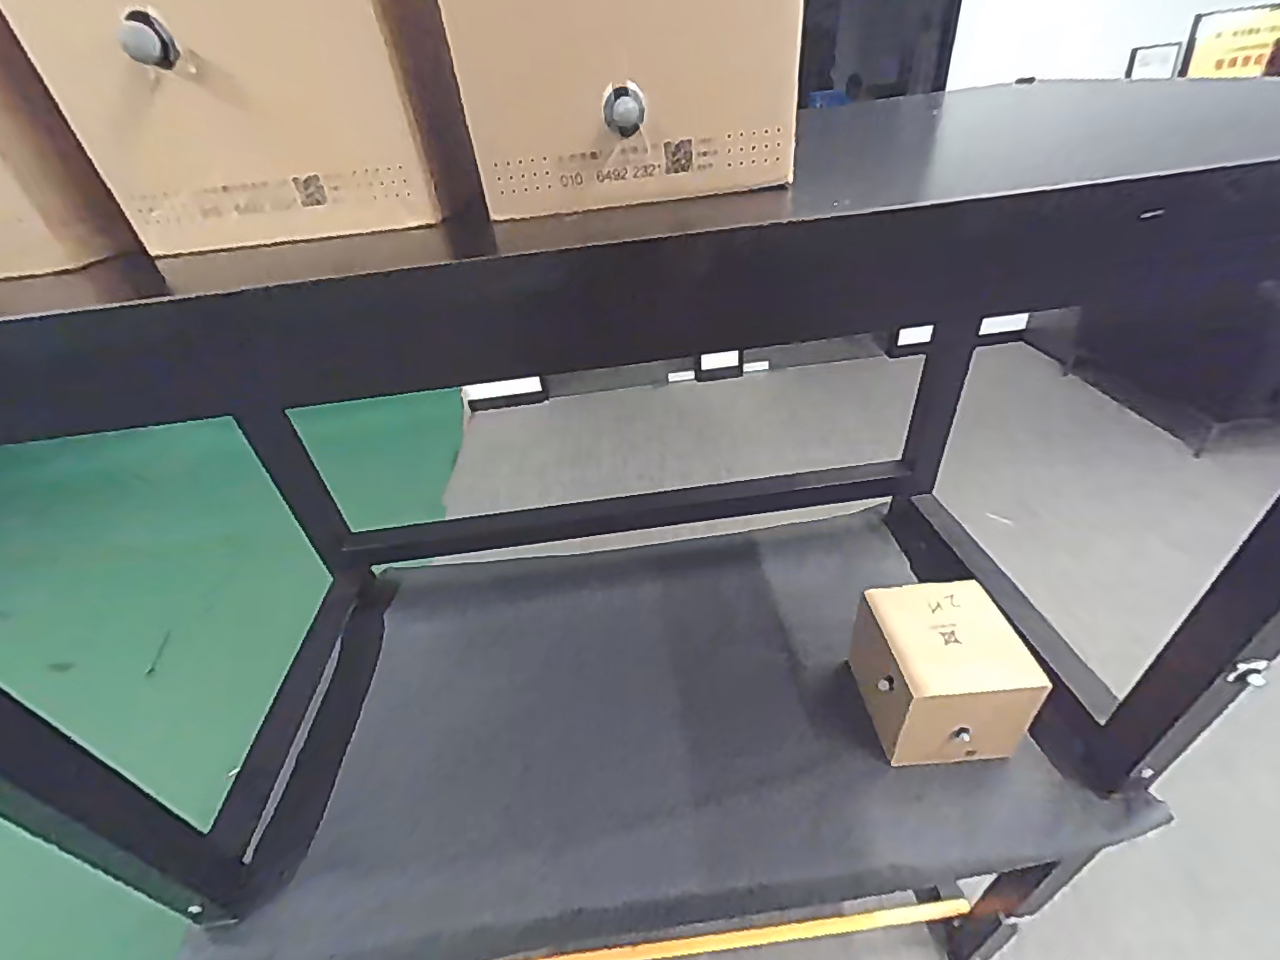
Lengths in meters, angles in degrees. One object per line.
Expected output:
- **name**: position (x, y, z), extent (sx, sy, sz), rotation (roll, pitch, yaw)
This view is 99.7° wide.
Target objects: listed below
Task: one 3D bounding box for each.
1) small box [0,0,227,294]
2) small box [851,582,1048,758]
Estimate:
- **small box**: position (-0.400, -0.215, 0.323), extent (0.168, 0.176, 0.179), rotation (-7, 37, 0)
- **small box**: position (0.414, 0.270, 0.760), extent (0.168, 0.176, 0.179), rotation (-5, 35, 2)
